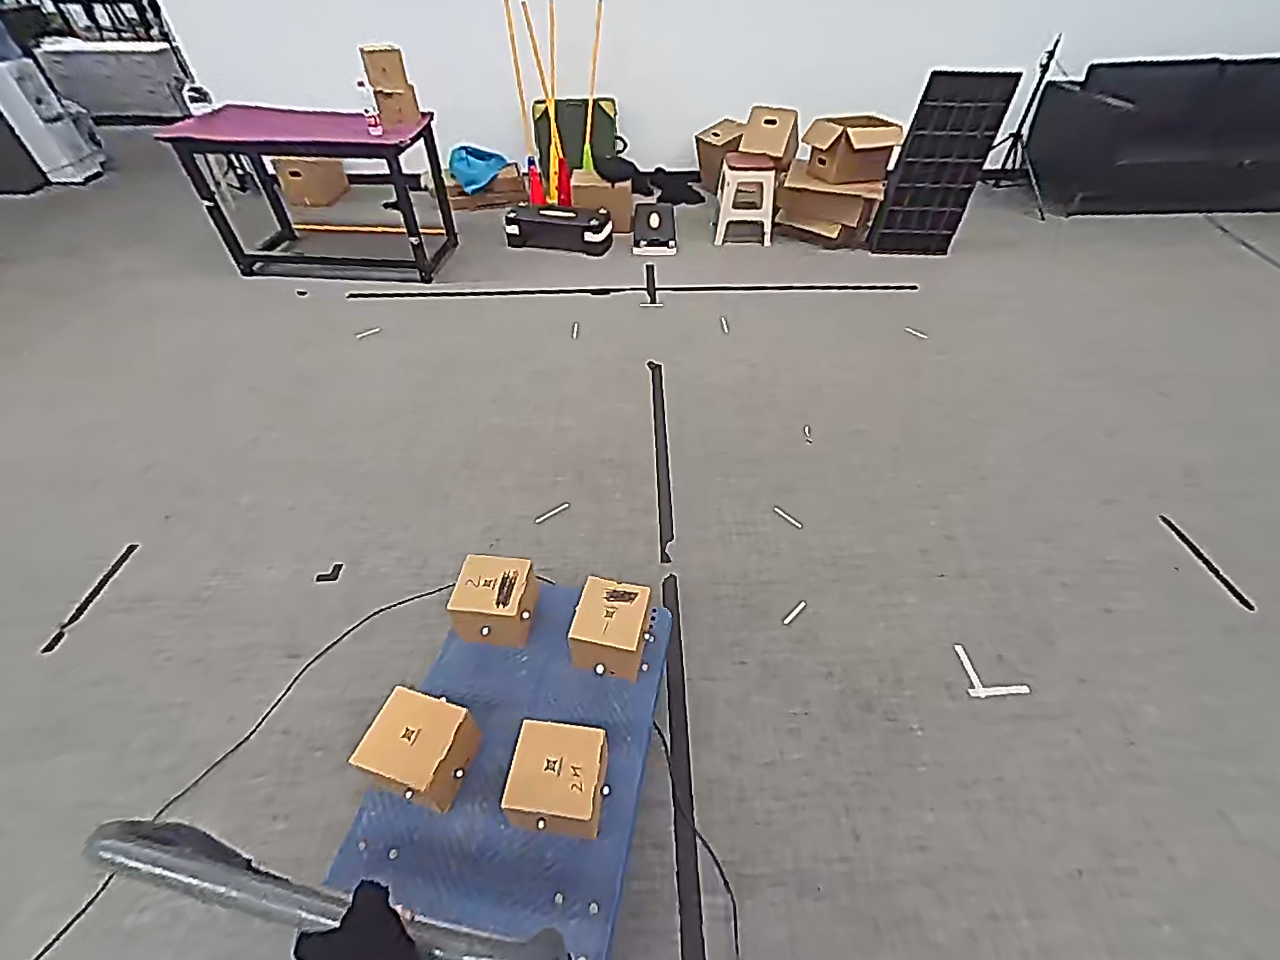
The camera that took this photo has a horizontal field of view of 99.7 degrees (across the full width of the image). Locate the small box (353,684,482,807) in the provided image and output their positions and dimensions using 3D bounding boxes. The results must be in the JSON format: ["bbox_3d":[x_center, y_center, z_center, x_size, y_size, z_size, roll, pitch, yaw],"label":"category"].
[{"bbox_3d":[-0.466,0.574,1.162,0.179,0.176,0.168,14,47,11],"label":"small box"}]

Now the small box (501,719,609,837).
[{"bbox_3d":[-0.165,0.619,1.120,0.179,0.176,0.168,6,46,5],"label":"small box"}]

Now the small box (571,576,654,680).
[{"bbox_3d":[-0.064,0.372,1.360,0.168,0.176,0.179,10,48,9],"label":"small box"}]
